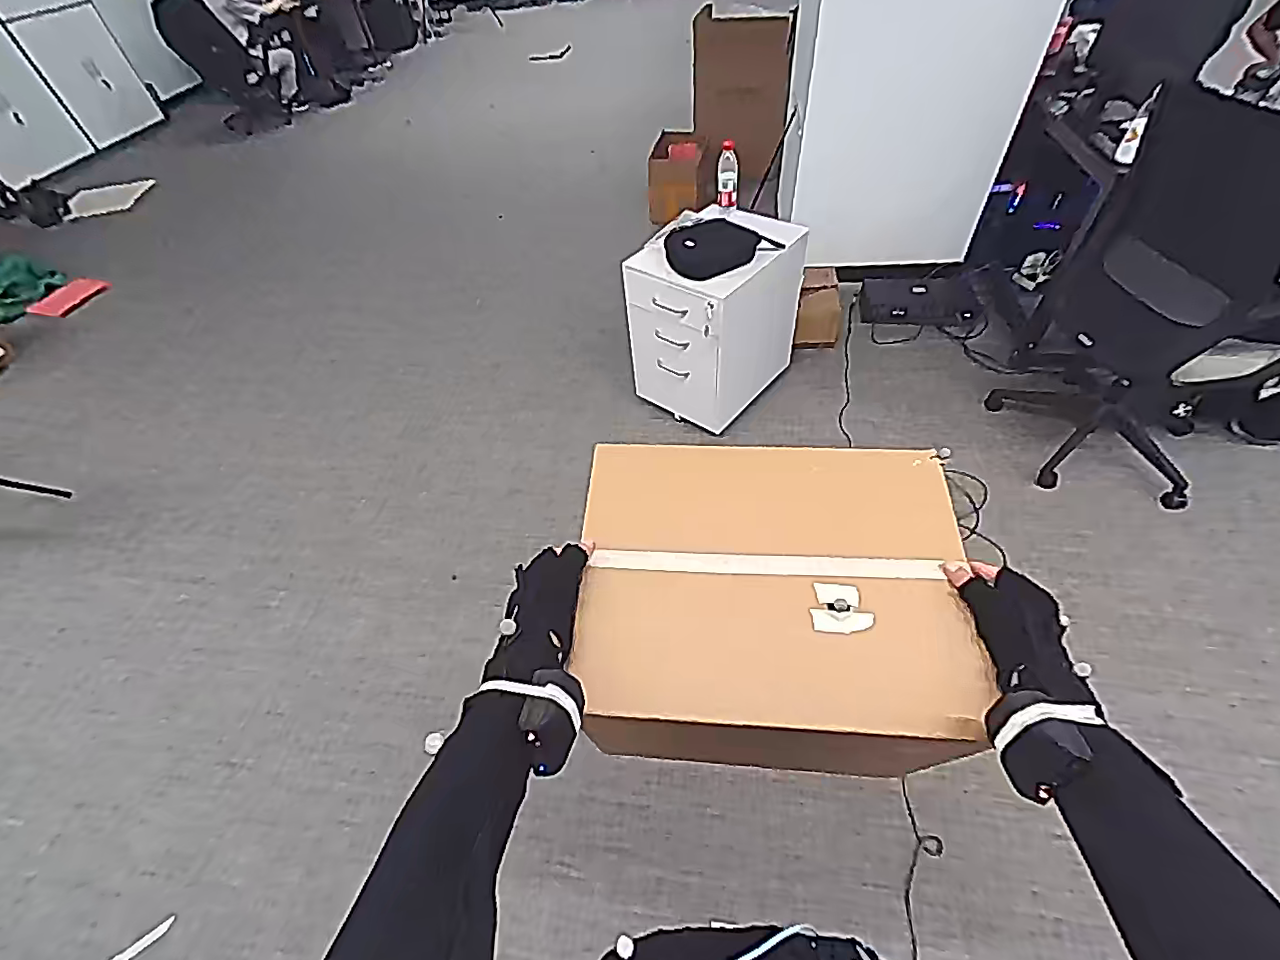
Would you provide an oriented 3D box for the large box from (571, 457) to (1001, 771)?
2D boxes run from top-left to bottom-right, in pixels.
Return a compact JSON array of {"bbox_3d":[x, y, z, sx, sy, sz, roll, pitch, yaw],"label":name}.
[{"bbox_3d":[0.146,0.182,0.706,0.408,0.320,0.320,1,57,5],"label":"large box"}]
